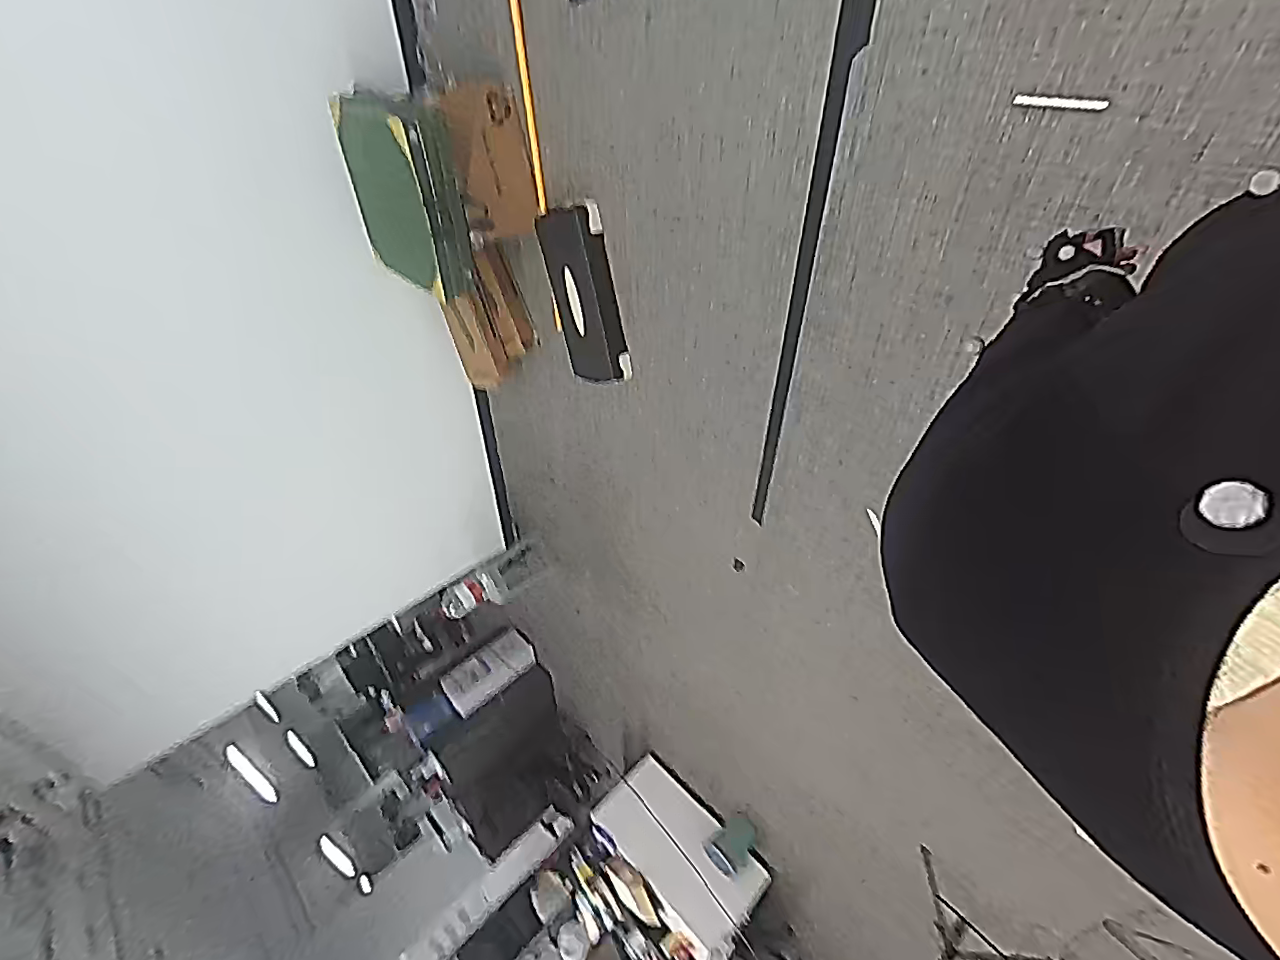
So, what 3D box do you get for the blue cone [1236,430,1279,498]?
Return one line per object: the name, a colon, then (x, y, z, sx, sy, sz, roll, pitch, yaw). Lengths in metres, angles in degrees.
blue cone: (1.077, 0.054, 0.836, 0.193, 0.380, 0.192, 34, 140, 33)
